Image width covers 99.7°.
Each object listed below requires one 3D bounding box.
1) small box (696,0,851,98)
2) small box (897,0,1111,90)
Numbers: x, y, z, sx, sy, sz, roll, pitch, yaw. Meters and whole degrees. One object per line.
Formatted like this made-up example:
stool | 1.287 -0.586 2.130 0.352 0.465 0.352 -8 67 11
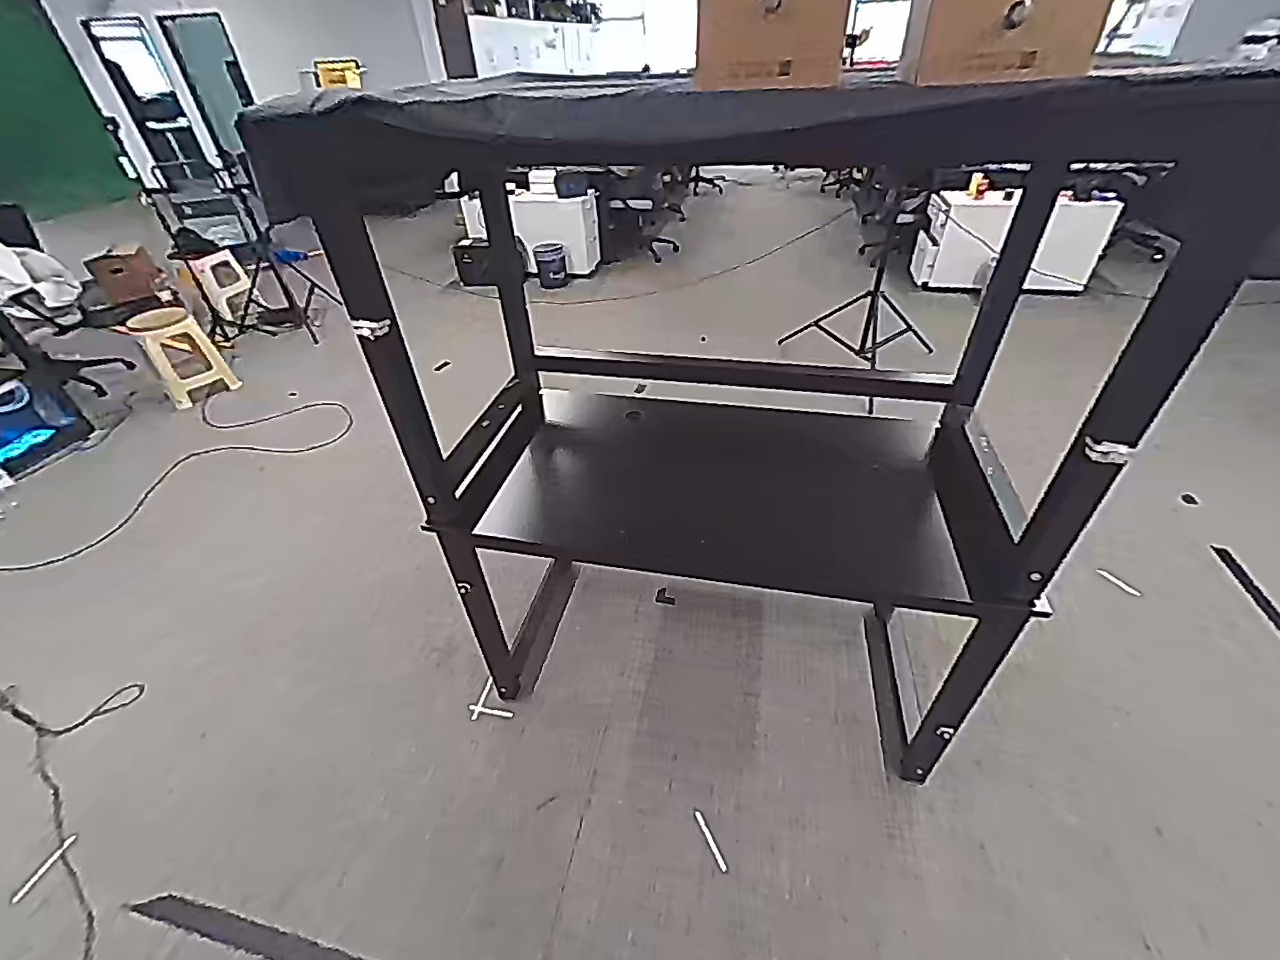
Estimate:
small box | 0.162 -0.558 0.638 0.168 0.176 0.179 8 39 13
small box | 0.391 -0.531 0.586 0.168 0.176 0.179 6 39 13
